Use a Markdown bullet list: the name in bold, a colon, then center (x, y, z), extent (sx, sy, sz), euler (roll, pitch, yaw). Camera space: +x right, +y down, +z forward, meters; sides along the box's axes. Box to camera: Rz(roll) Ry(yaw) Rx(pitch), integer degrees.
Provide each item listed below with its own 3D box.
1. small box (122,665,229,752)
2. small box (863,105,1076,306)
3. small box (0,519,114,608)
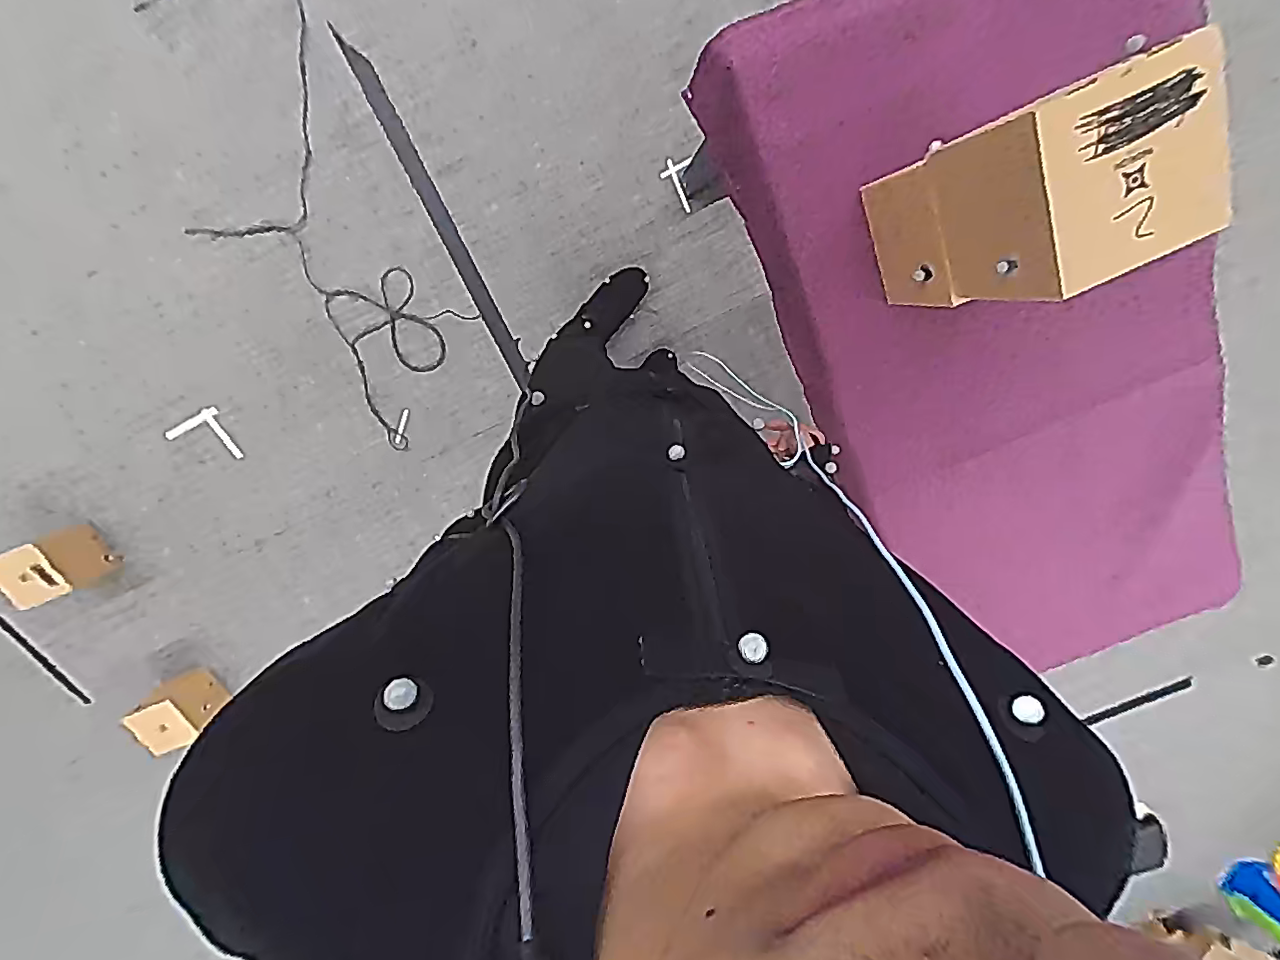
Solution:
- **small box**: center (-1.490, 0.735, 1.755), extent (0.179, 0.176, 0.168), euler (-23, 110, 5)
- **small box**: center (0.427, -0.350, 0.720), extent (0.168, 0.176, 0.179), euler (-23, 109, 4)
- **small box**: center (-1.695, 0.235, 1.564), extent (0.179, 0.176, 0.168), euler (-21, 109, 5)
